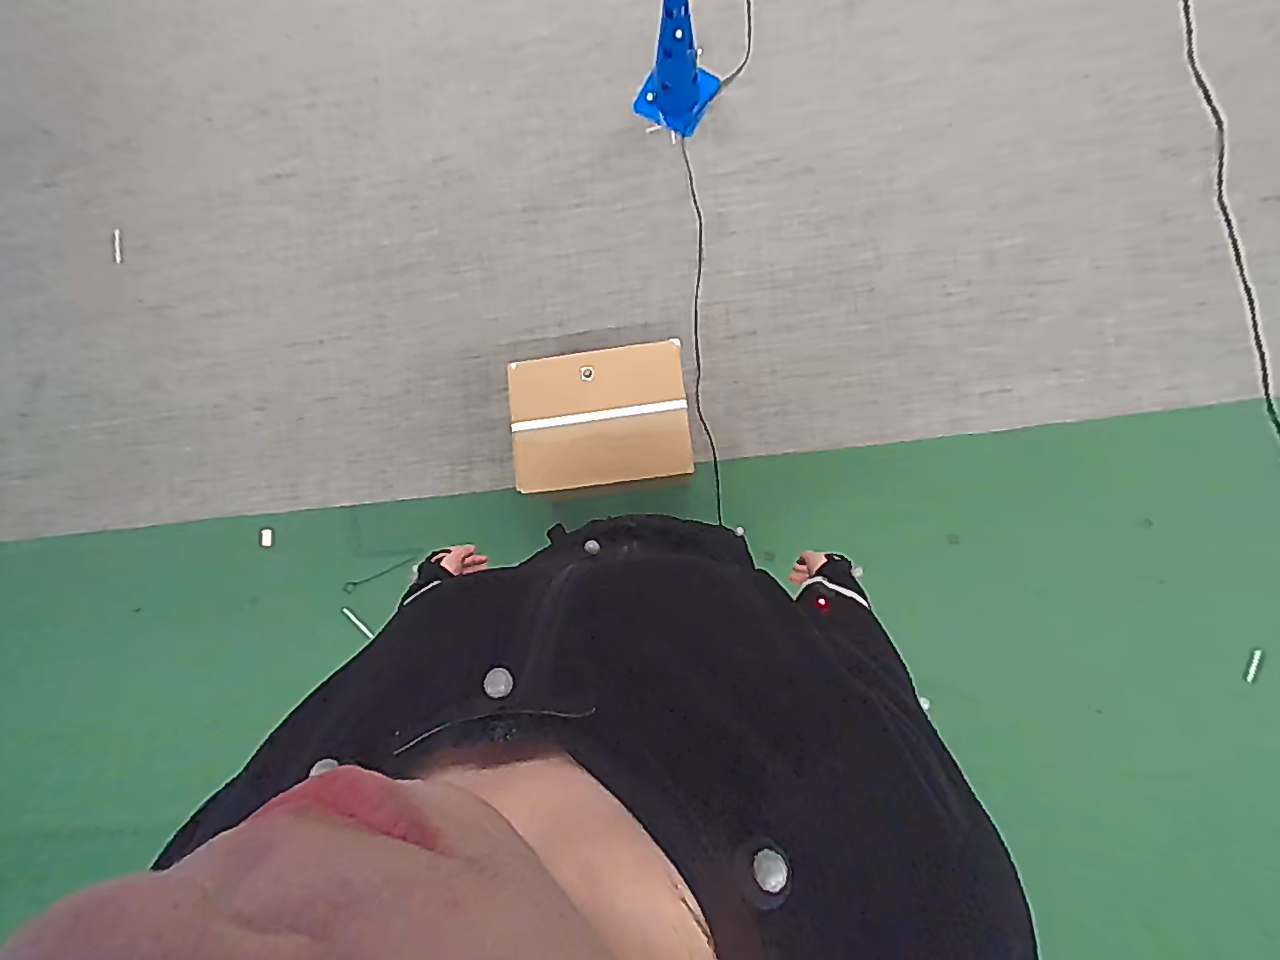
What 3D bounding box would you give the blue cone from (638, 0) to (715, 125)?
[{"bbox_3d":[0.093,-1.135,1.391,0.192,0.380,0.193,26,90,5],"label":"blue cone"}]
